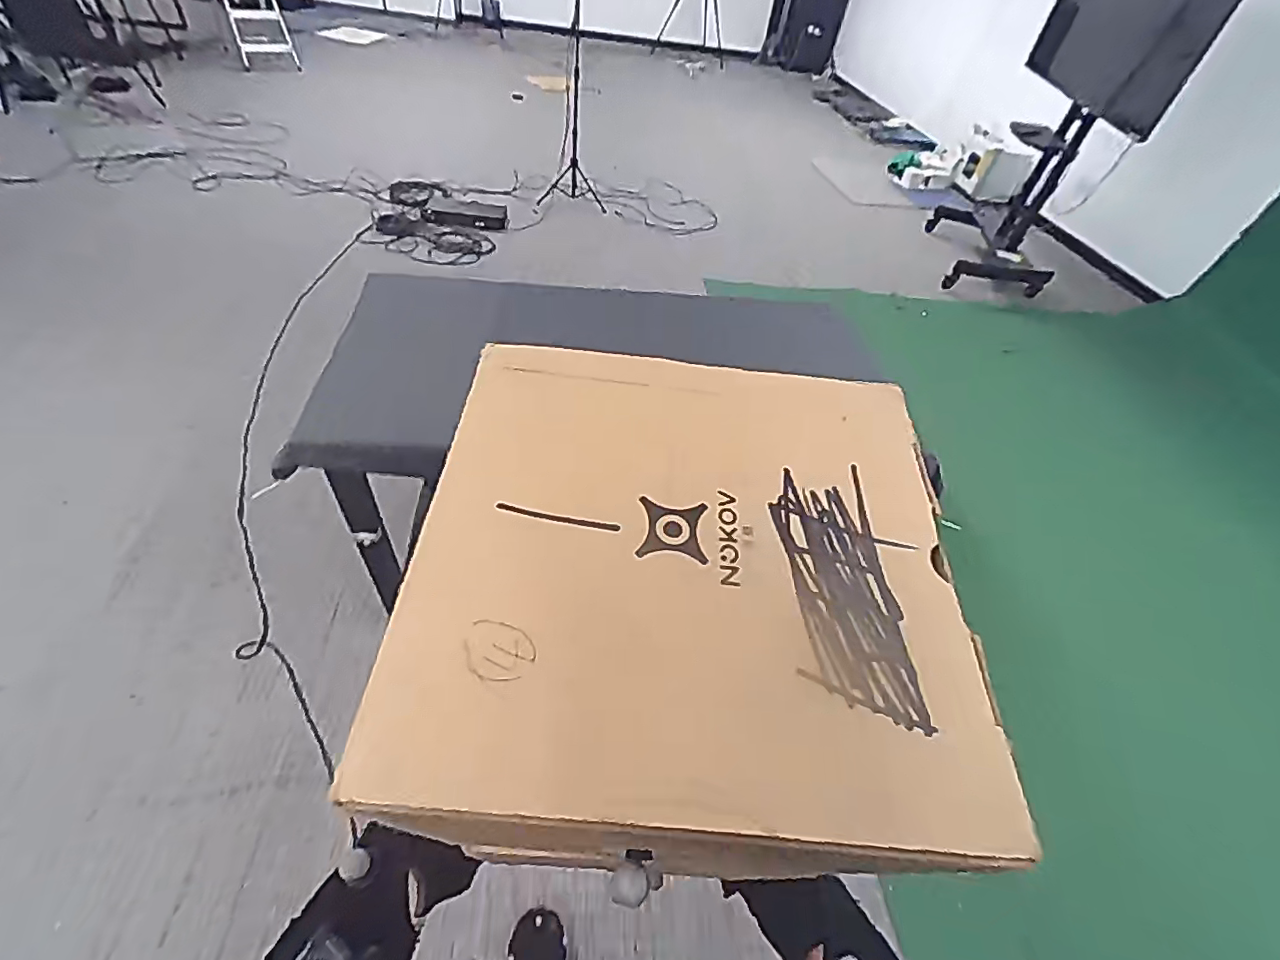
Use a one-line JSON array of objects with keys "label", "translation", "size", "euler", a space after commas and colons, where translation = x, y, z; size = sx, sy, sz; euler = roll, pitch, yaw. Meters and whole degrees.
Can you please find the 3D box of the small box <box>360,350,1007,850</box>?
[{"label": "small box", "translation": [0.008, 0.067, 0.250], "size": [0.179, 0.176, 0.168], "euler": [5, 54, -6]}]
